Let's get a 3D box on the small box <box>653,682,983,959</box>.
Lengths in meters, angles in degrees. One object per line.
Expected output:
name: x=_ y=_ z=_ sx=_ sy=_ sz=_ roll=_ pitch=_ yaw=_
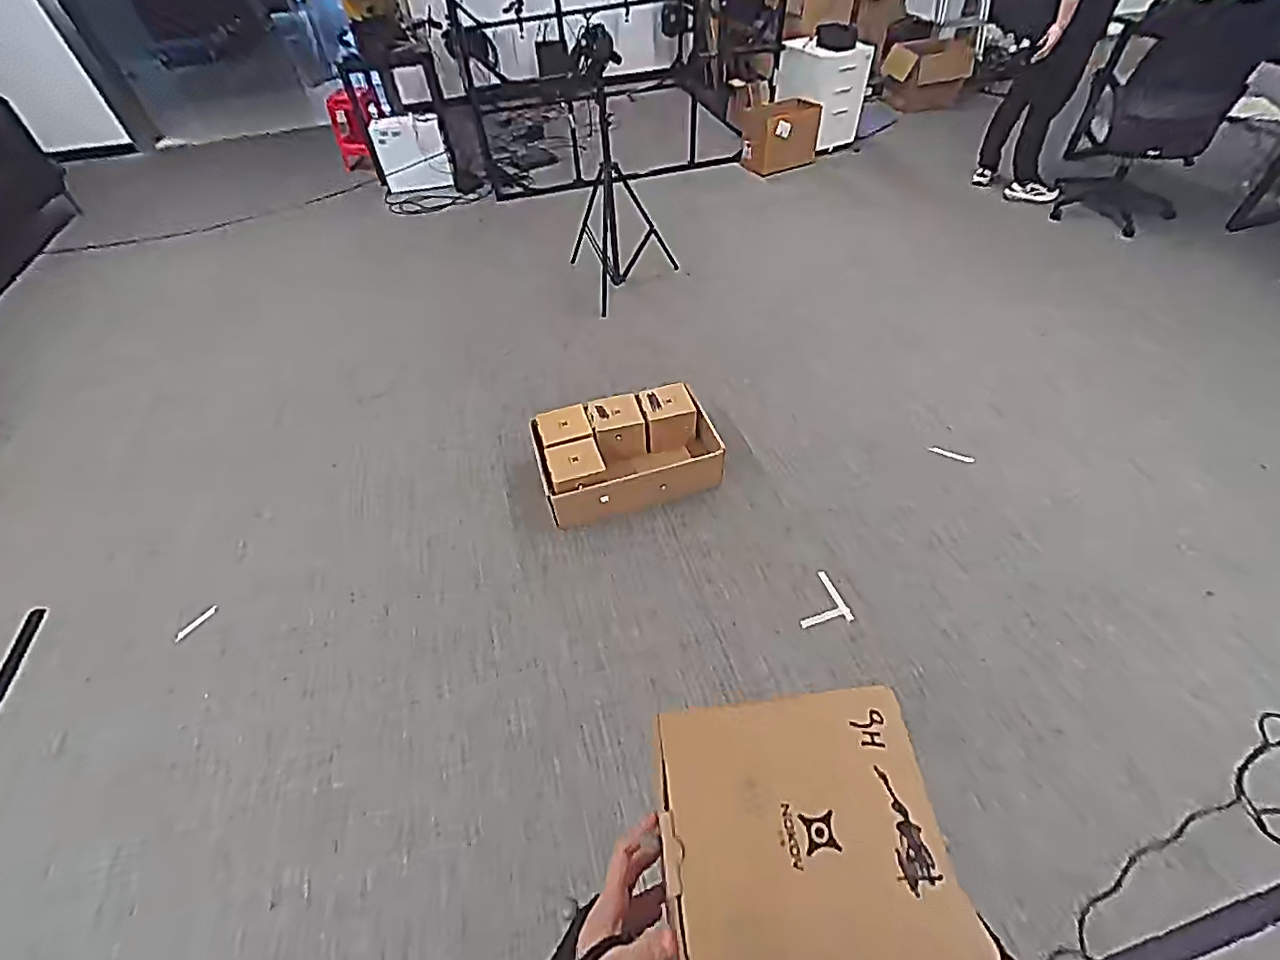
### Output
small box: x=0.105 y=0.265 z=0.415 sx=0.179 sy=0.176 sz=0.168 roll=-6 pitch=59 yaw=-4
